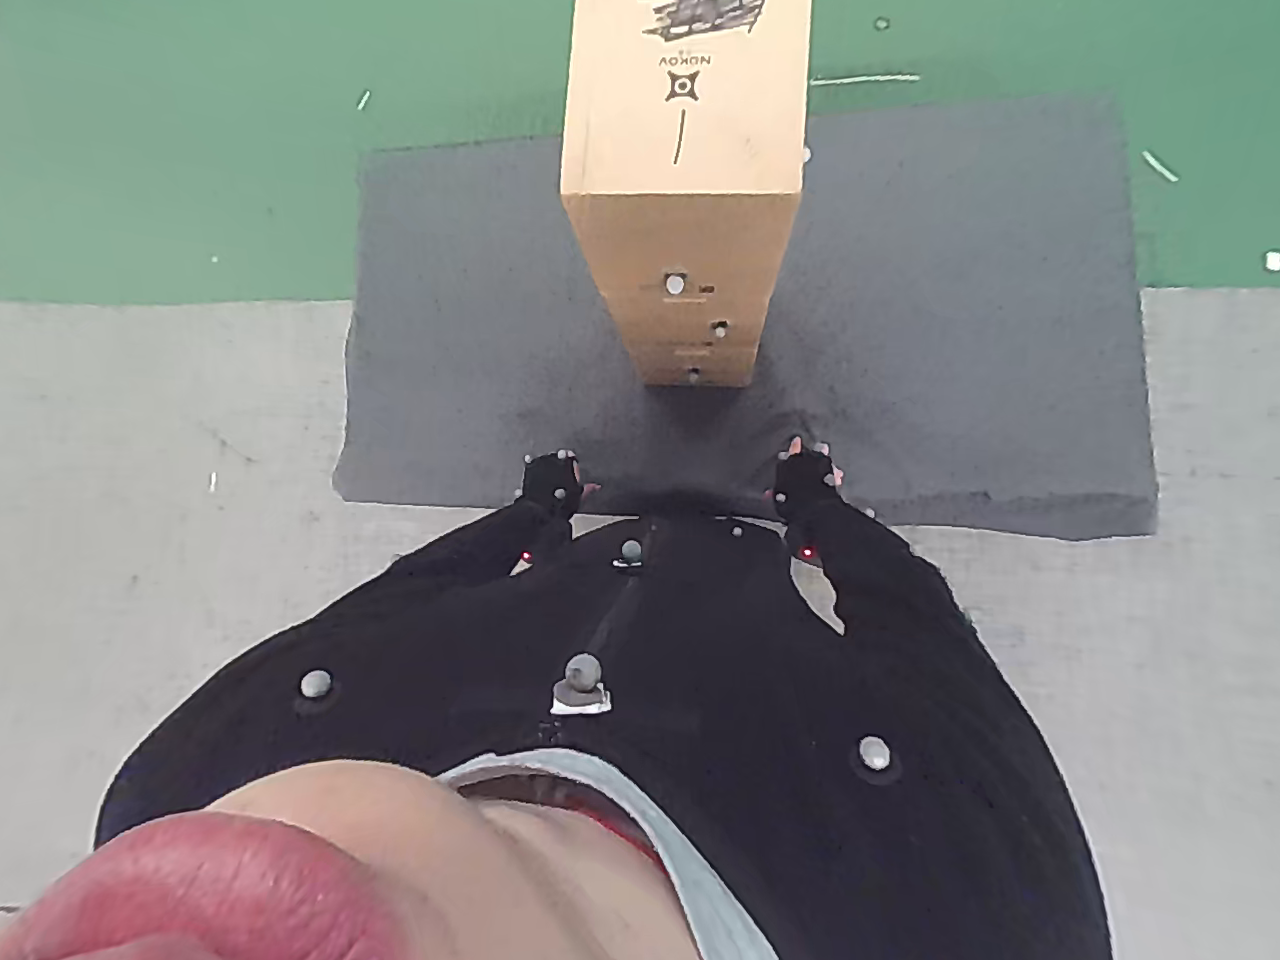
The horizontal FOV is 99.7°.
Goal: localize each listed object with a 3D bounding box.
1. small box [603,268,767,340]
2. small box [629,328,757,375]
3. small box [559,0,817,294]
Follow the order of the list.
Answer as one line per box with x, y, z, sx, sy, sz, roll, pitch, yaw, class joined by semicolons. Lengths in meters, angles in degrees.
0.058;-0.265;0.605;0.168;0.176;0.179;2;85;7;small box
0.083;-0.253;0.766;0.168;0.176;0.179;3;86;8;small box
0.041;-0.273;0.442;0.168;0.176;0.179;4;87;7;small box
